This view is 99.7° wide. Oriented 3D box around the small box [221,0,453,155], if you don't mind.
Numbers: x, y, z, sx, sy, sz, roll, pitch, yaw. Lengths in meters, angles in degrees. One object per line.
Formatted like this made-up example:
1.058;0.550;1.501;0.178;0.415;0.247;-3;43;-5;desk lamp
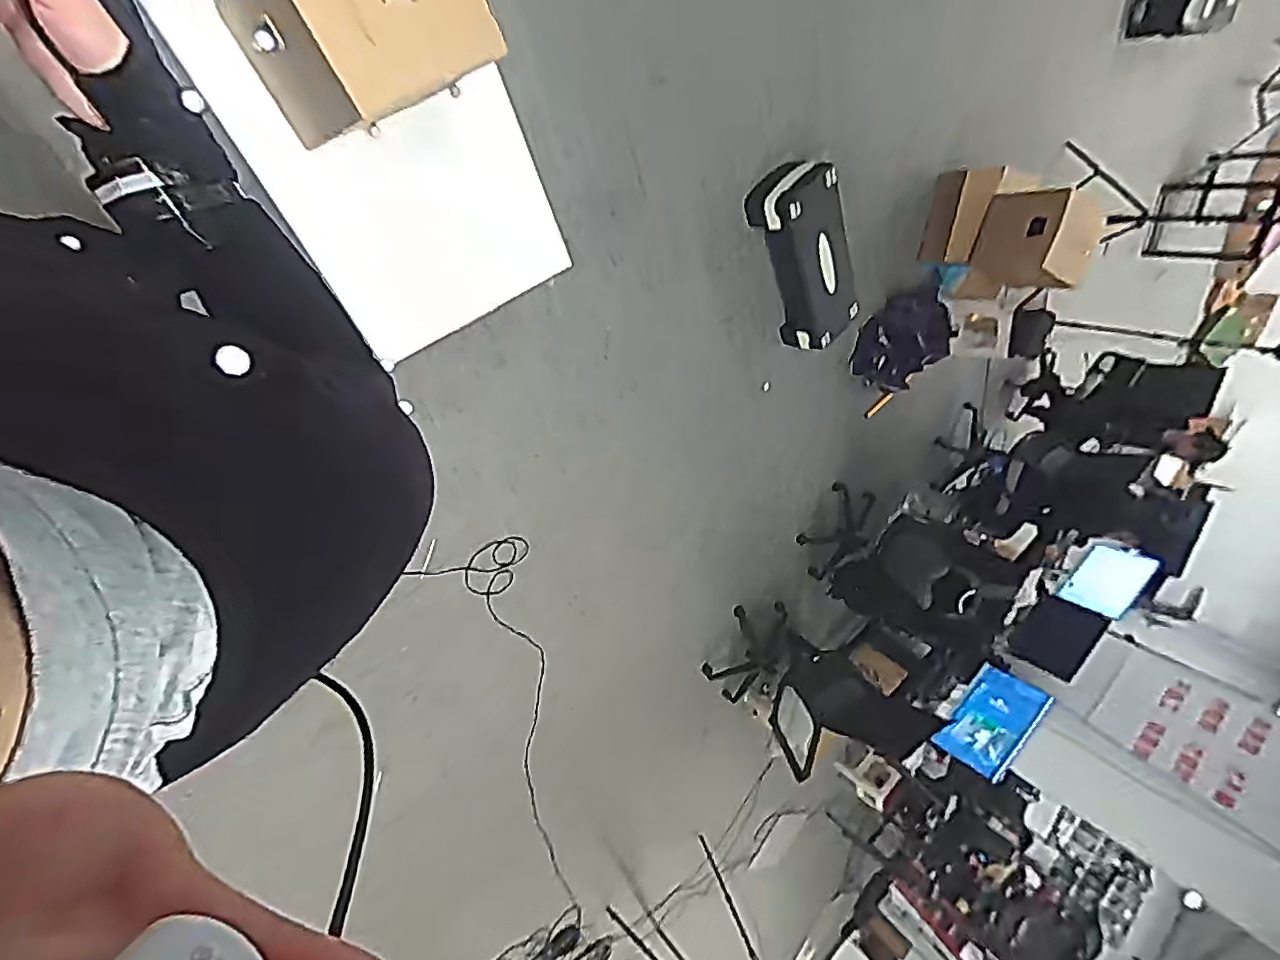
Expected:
-0.372;-0.524;0.664;0.179;0.176;0.168;-39;131;-19;small box

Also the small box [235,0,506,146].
-0.276;-0.466;0.546;0.179;0.176;0.168;-40;130;-17;small box
